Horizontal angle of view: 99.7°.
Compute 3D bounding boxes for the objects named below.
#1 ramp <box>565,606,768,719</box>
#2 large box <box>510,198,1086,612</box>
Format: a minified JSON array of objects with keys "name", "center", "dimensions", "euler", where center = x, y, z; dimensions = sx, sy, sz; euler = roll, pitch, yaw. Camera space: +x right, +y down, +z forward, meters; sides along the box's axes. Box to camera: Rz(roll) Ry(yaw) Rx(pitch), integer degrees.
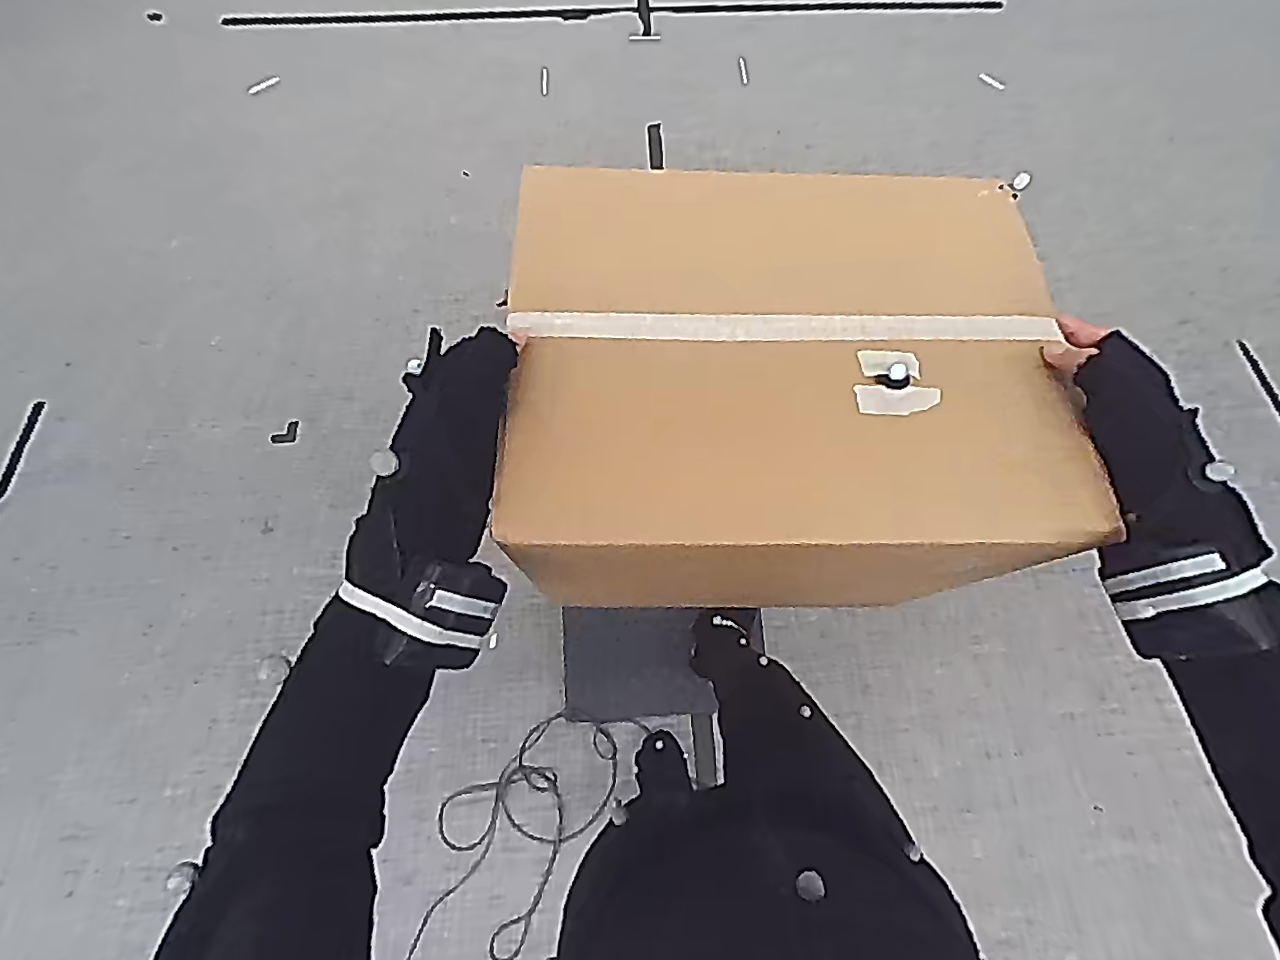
[{"name":"ramp","center":[0.039,0.070,1.401],"dimensions":[0.509,0.206,0.991],"euler":[-5,68,-4]},{"name":"large box","center":[0.099,-0.047,0.554],"dimensions":[0.408,0.320,0.320],"euler":[0,69,-3]}]
